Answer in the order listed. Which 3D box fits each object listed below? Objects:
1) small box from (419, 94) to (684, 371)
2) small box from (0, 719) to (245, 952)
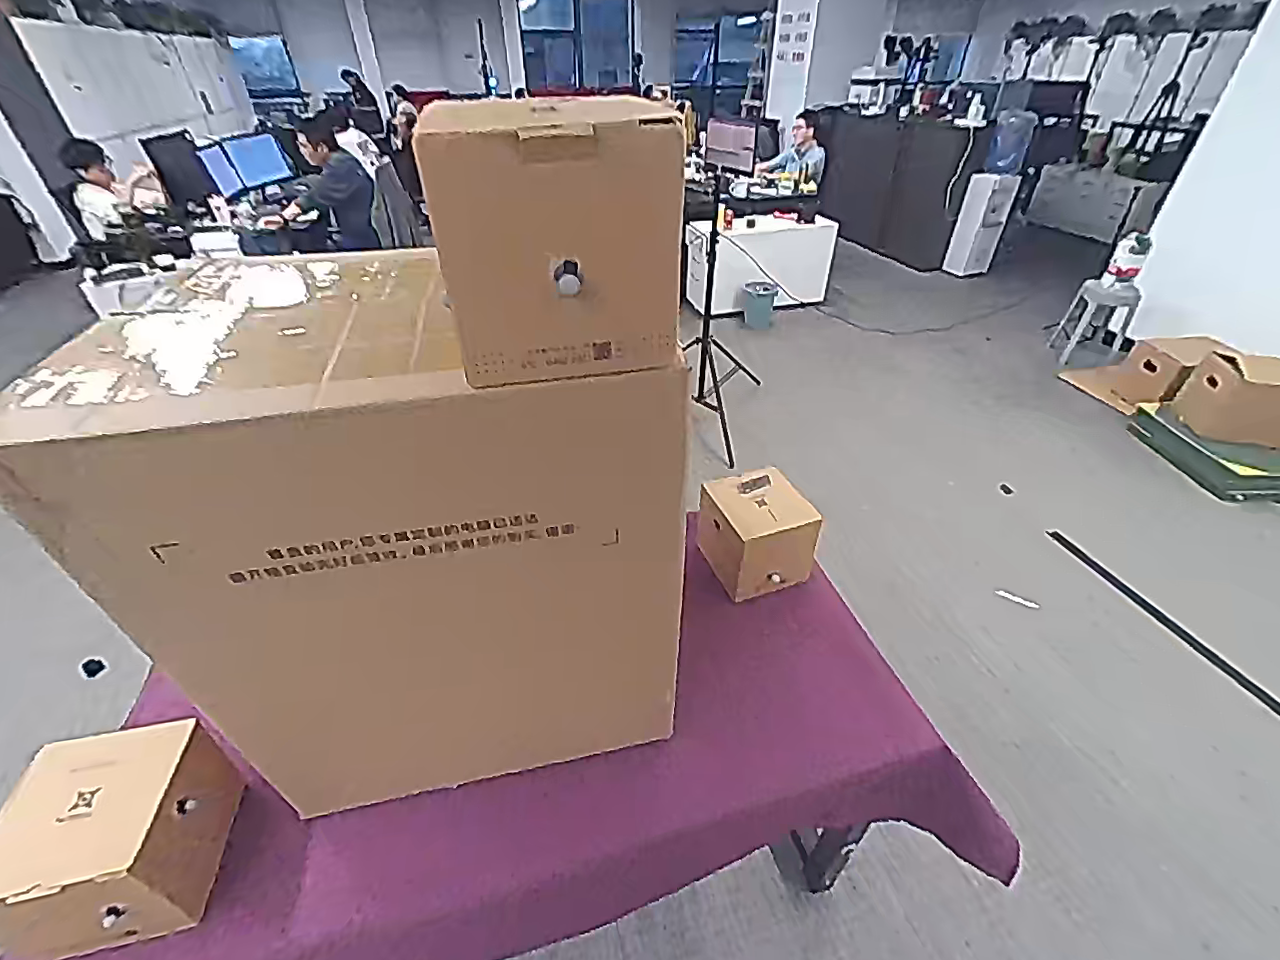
[{"bbox_3d":[-0.065,-0.198,0.439,0.168,0.176,0.179,-9,40,-9],"label":"small box"},{"bbox_3d":[-0.618,0.427,0.651,0.168,0.176,0.179,-6,35,-12],"label":"small box"}]
